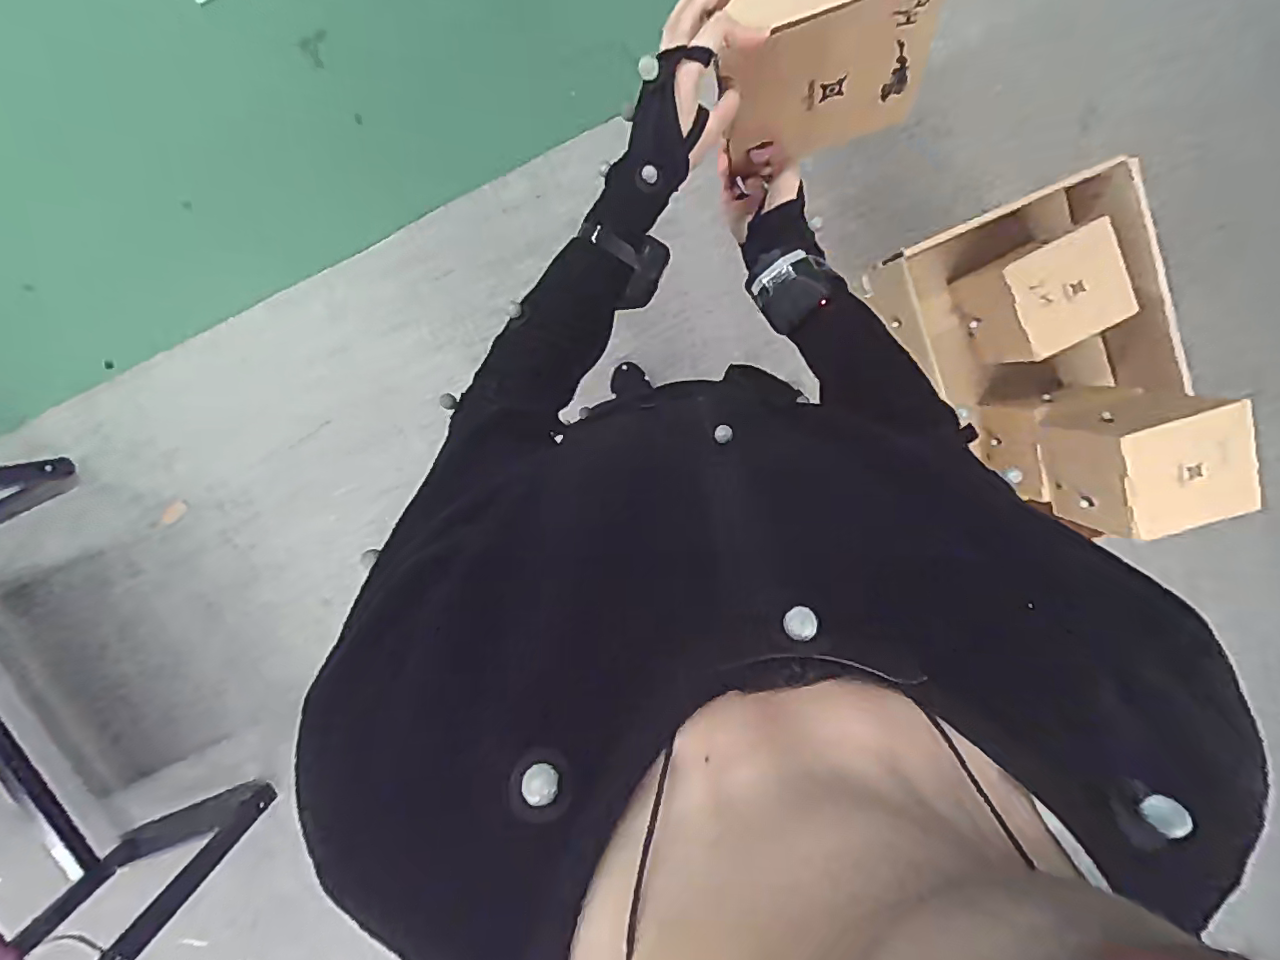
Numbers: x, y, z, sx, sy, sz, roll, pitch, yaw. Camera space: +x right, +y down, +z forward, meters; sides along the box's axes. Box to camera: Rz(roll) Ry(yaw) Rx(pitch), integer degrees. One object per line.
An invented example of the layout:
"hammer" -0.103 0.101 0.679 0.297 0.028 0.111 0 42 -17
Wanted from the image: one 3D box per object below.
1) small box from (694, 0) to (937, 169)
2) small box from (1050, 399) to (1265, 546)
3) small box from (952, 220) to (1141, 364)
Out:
"small box" 0.138 -0.422 0.475 0.179 0.168 0.176 -10 86 12
"small box" 0.767 -0.020 0.824 0.179 0.176 0.168 -17 101 4
"small box" 0.687 -0.312 0.932 0.179 0.176 0.168 -26 99 6
